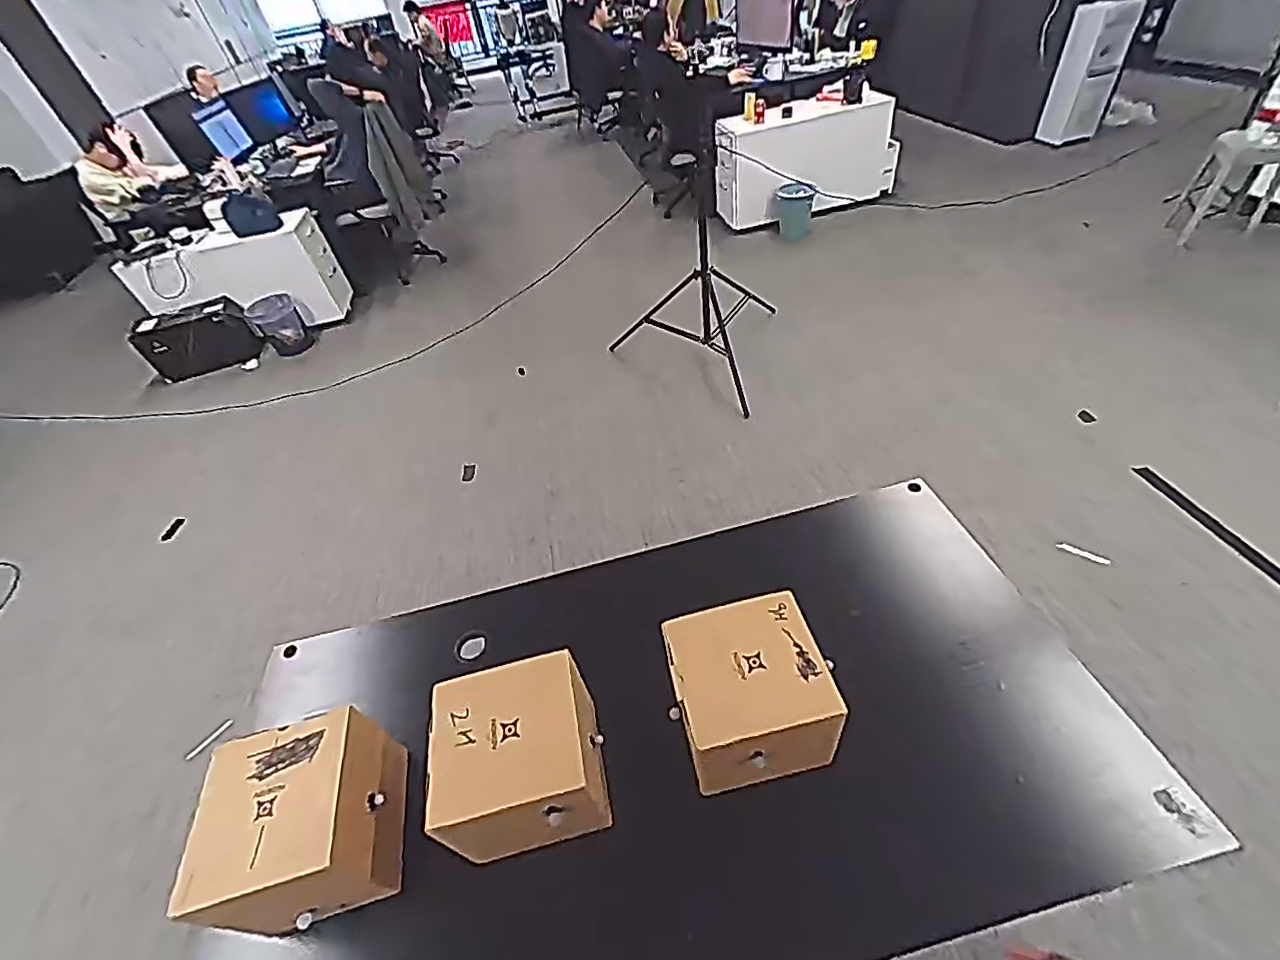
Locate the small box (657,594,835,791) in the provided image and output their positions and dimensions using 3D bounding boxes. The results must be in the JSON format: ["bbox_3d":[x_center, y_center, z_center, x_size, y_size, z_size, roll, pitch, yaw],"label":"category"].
[{"bbox_3d":[0.132,0.280,0.705,0.179,0.176,0.168,-14,45,-2],"label":"small box"}]

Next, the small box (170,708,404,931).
[{"bbox_3d":[-0.409,0.419,0.669,0.168,0.176,0.179,-16,46,-5],"label":"small box"}]

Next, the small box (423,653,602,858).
[{"bbox_3d":[-0.151,0.351,0.687,0.179,0.176,0.168,-15,45,-3],"label":"small box"}]
